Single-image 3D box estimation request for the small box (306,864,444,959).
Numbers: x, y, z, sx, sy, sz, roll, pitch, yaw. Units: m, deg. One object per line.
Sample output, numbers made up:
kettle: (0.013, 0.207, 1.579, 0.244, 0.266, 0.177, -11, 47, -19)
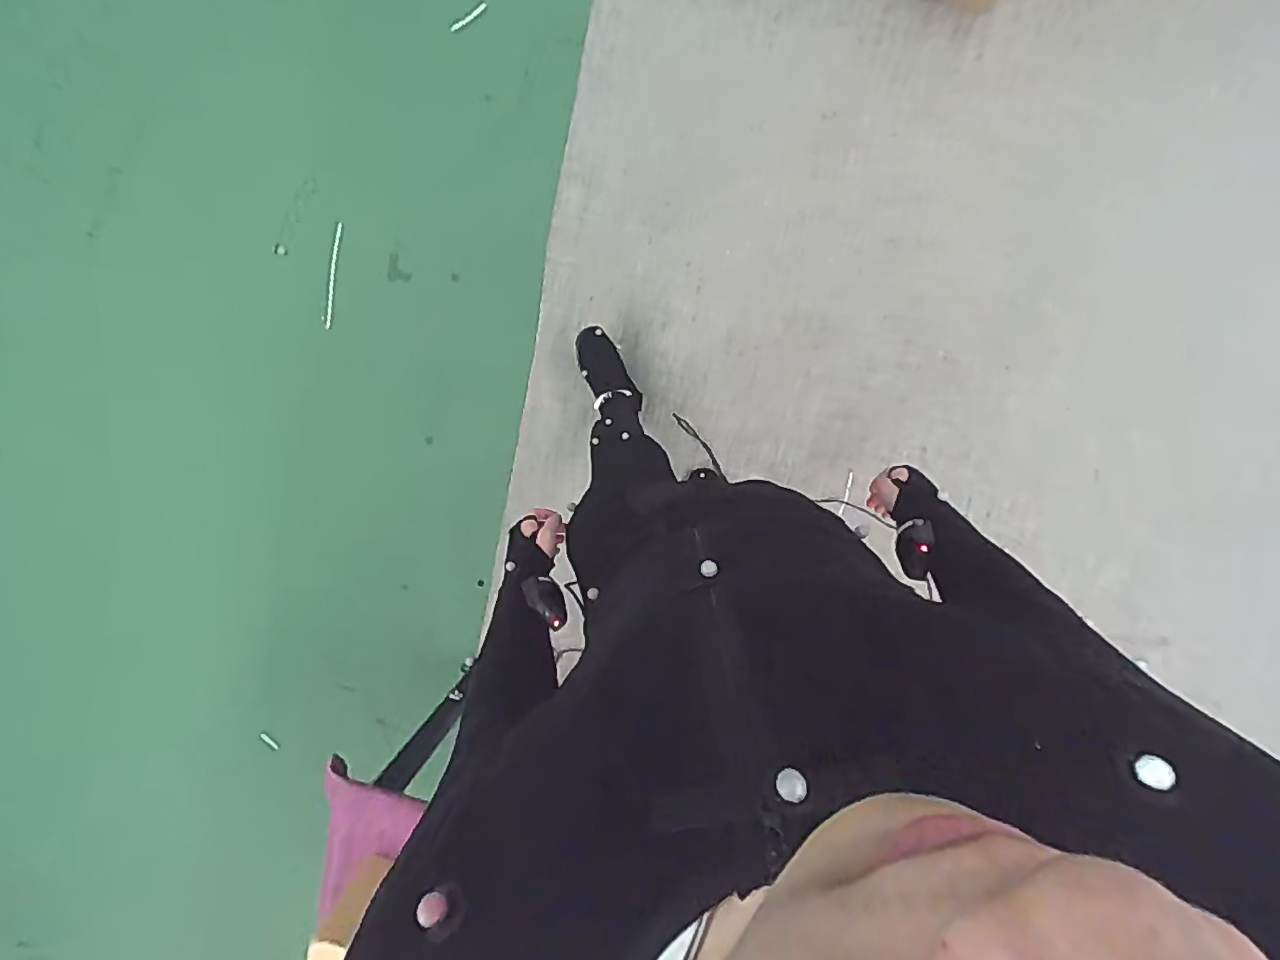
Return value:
small box: (-0.471, 0.844, 0.963, 0.168, 0.176, 0.179, 14, 100, 3)
